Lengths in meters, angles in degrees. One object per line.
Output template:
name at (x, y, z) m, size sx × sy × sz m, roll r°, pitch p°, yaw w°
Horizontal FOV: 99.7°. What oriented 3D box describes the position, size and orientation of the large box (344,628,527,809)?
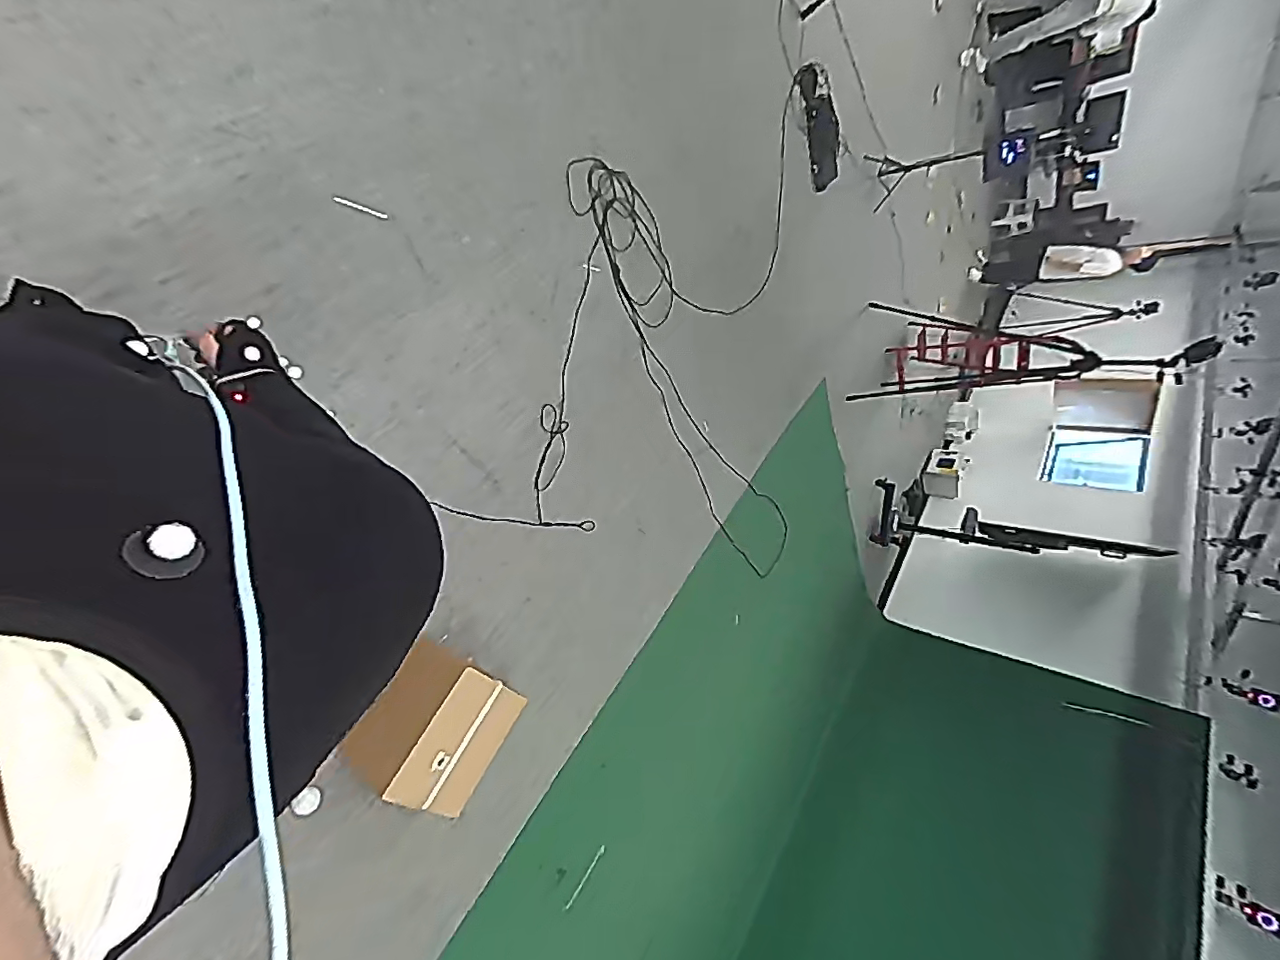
large box at (-0.655, 0.762, 1.761) m, size 0.408 × 0.320 × 0.320 m, roll -58°, pitch 135°, yaw -21°
